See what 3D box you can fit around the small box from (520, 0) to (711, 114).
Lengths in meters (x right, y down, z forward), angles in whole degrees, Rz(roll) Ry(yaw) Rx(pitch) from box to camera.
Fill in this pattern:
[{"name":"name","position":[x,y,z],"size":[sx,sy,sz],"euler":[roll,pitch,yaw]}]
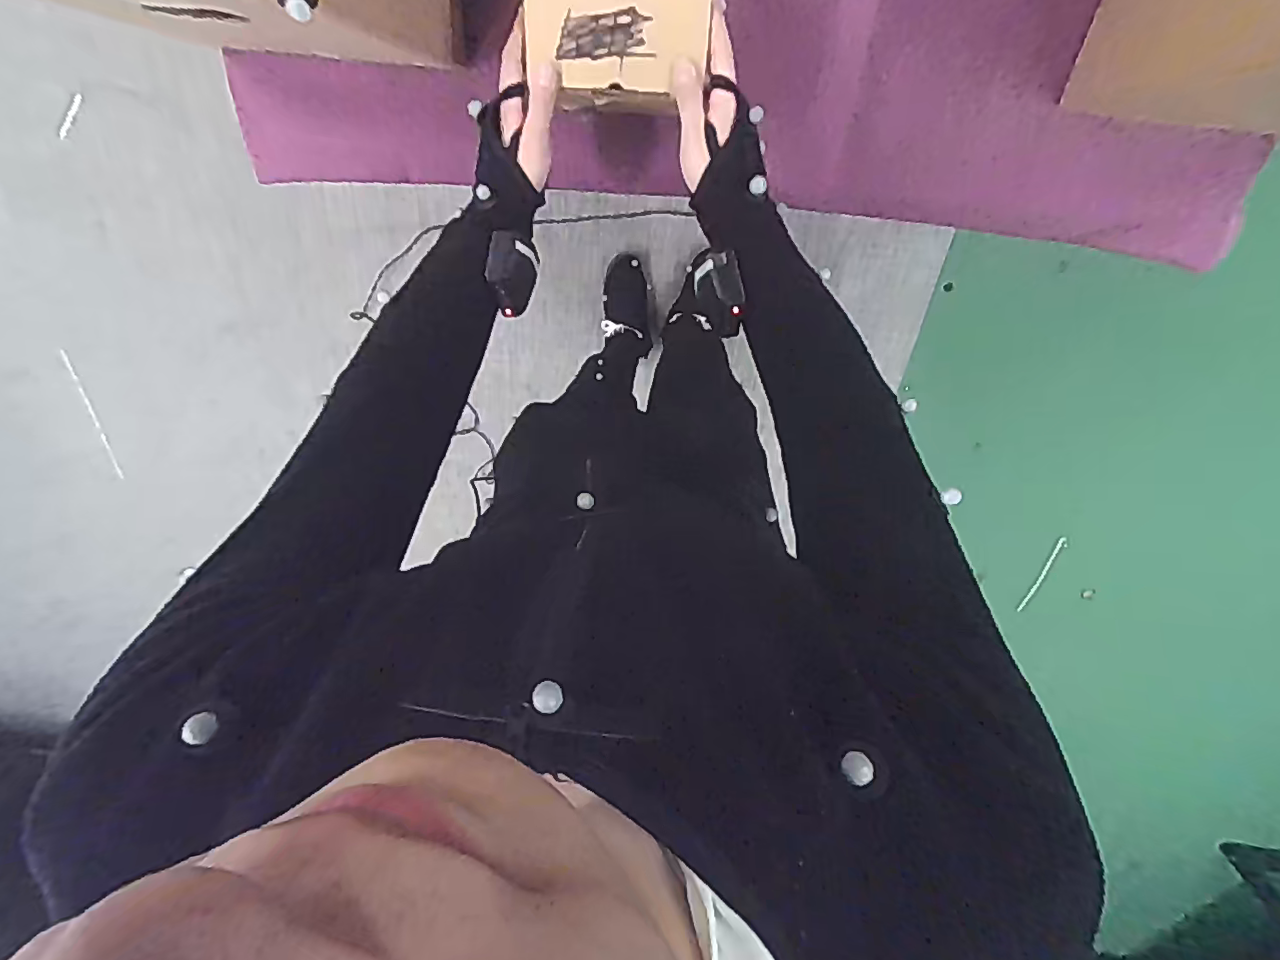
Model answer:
[{"name":"small box","position":[-0.015,-0.468,0.522],"size":[0.168,0.176,0.179],"euler":[4,118,3]}]

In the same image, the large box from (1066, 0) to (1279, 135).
[{"name":"large box","position":[0.621,-0.490,0.370],"size":[0.320,0.320,0.408],"euler":[8,121,2]}]
